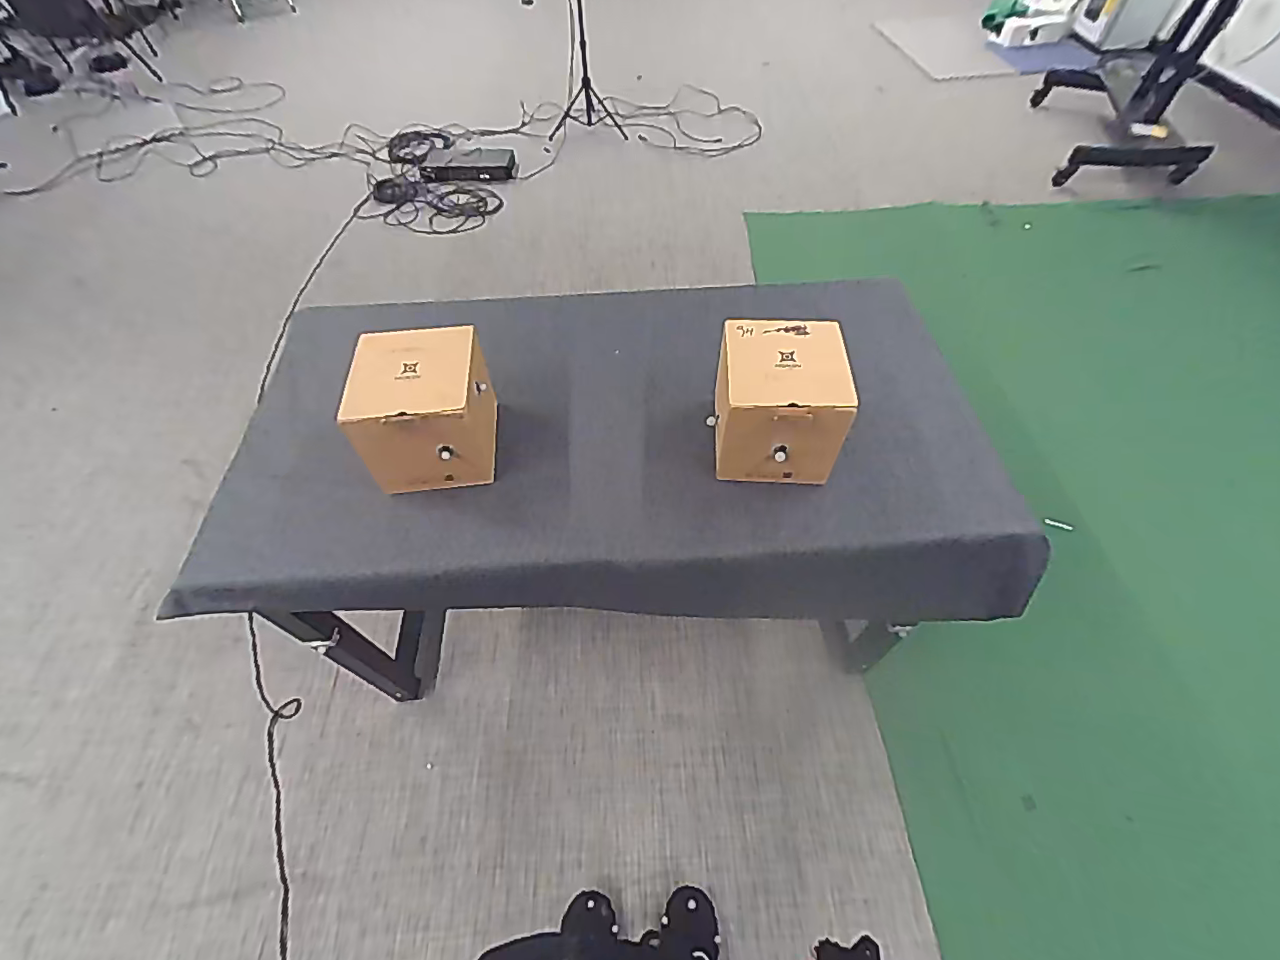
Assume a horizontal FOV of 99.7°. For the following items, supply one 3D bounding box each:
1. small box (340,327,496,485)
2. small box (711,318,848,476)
[{"bbox_3d":[-0.320,-0.104,0.821,0.168,0.176,0.179,-6,54,-4],"label":"small box"},{"bbox_3d":[0.196,-0.120,0.811,0.168,0.176,0.179,2,56,3],"label":"small box"}]
